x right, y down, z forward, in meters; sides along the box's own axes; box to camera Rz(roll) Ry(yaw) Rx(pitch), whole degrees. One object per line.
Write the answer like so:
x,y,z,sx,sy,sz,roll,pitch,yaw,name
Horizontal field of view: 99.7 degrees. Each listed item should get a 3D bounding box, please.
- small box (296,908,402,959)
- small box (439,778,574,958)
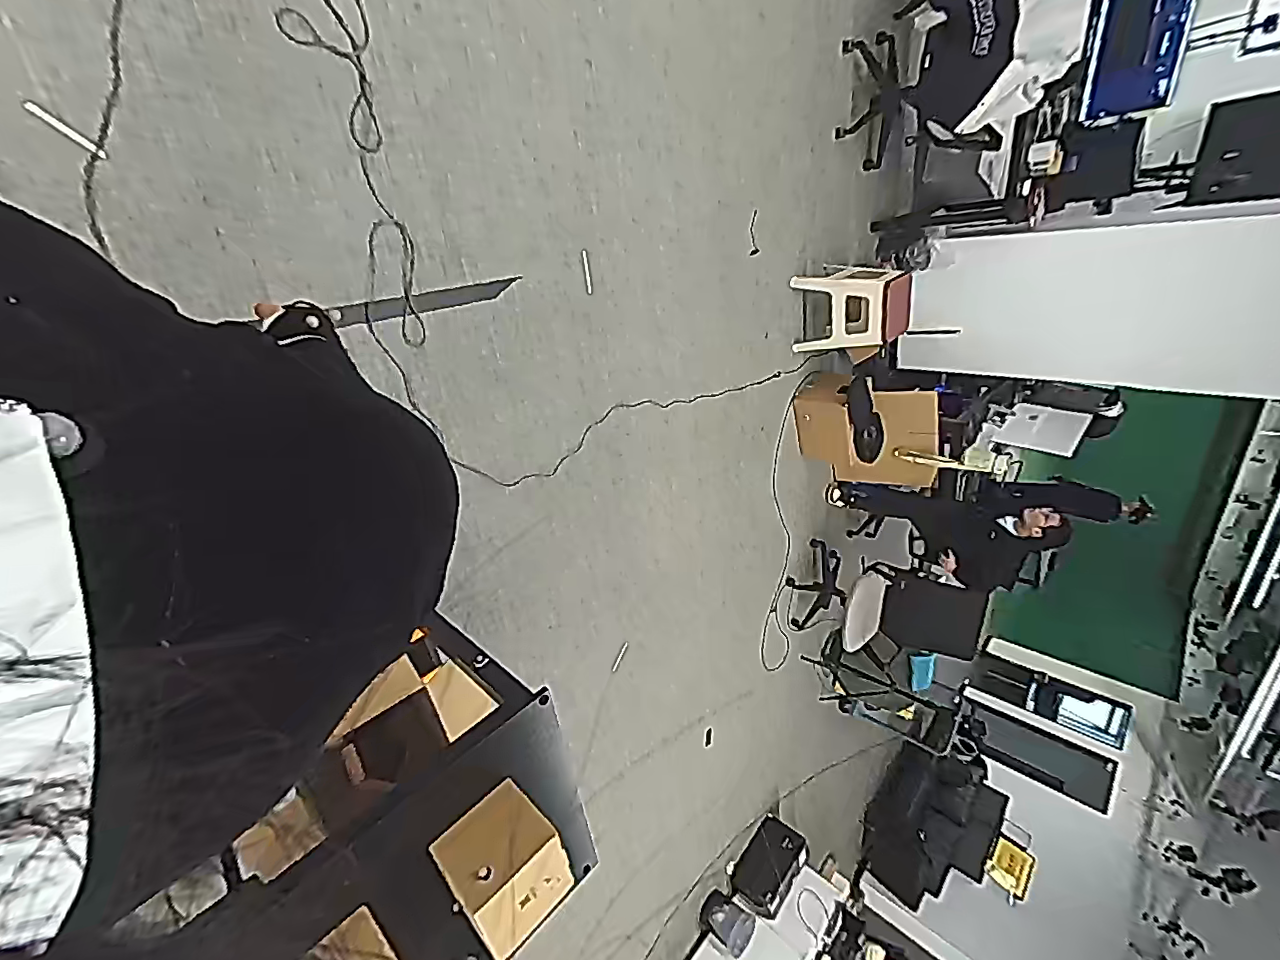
-0.451,0.835,0.847,0.168,0.176,0.179,-29,122,-38,small box
-0.254,0.714,1.014,0.179,0.176,0.168,-31,124,-36,small box
